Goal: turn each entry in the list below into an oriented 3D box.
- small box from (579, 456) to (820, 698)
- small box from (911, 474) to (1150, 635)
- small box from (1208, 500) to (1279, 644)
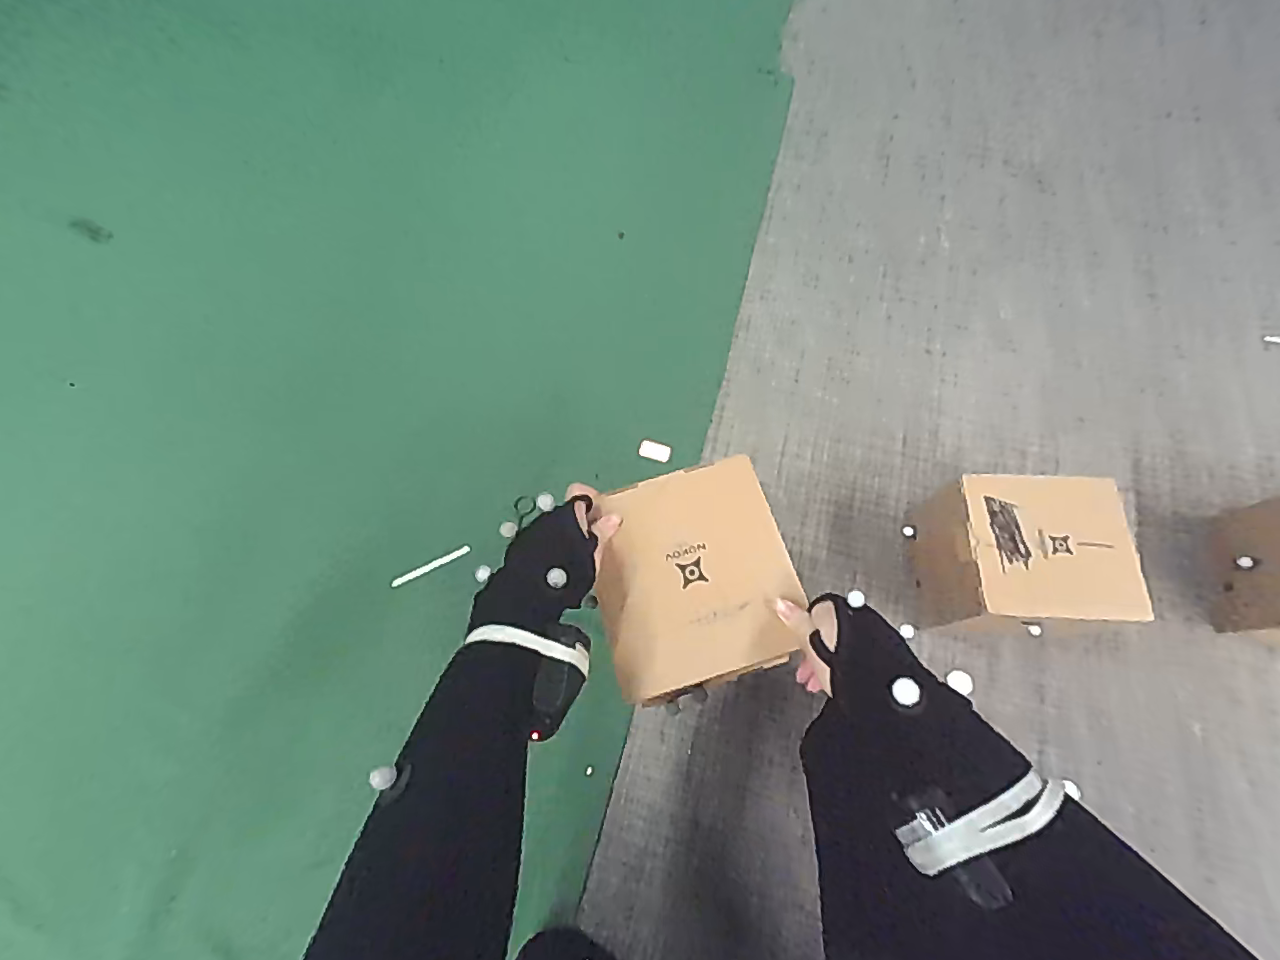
[{"bbox_3d":[0.048,0.105,0.533,0.168,0.176,0.179,-16,68,-3],"label":"small box"},{"bbox_3d":[0.463,0.100,0.681,0.179,0.176,0.168,1,68,3],"label":"small box"},{"bbox_3d":[0.859,0.114,0.651,0.179,0.176,0.168,13,69,8],"label":"small box"}]
